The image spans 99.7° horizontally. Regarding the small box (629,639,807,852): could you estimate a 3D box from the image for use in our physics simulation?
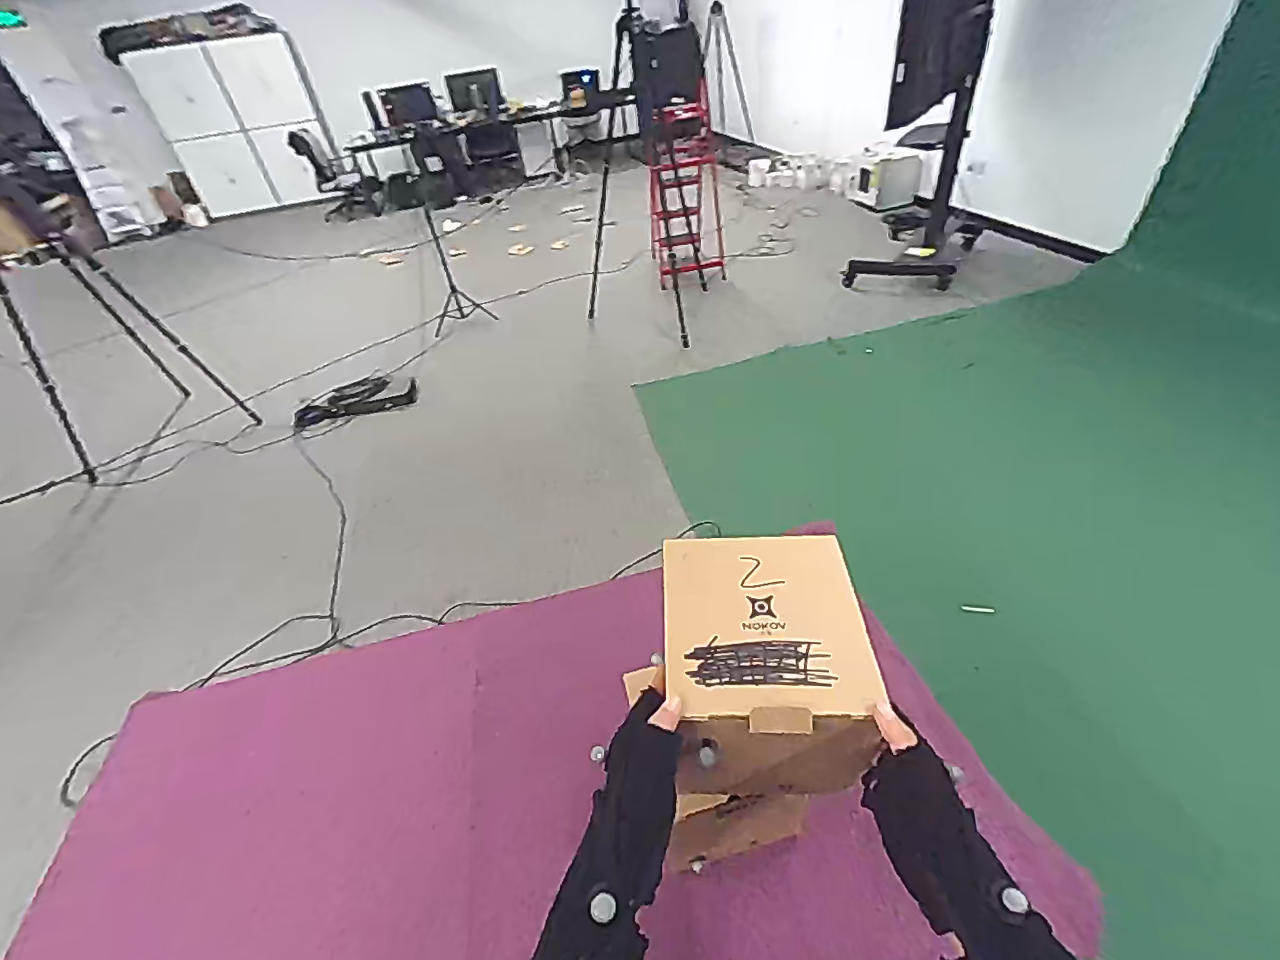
[{"bbox_3d":[0.088,0.328,0.662,0.168,0.176,0.179,-10,41,-4],"label":"small box"}]
